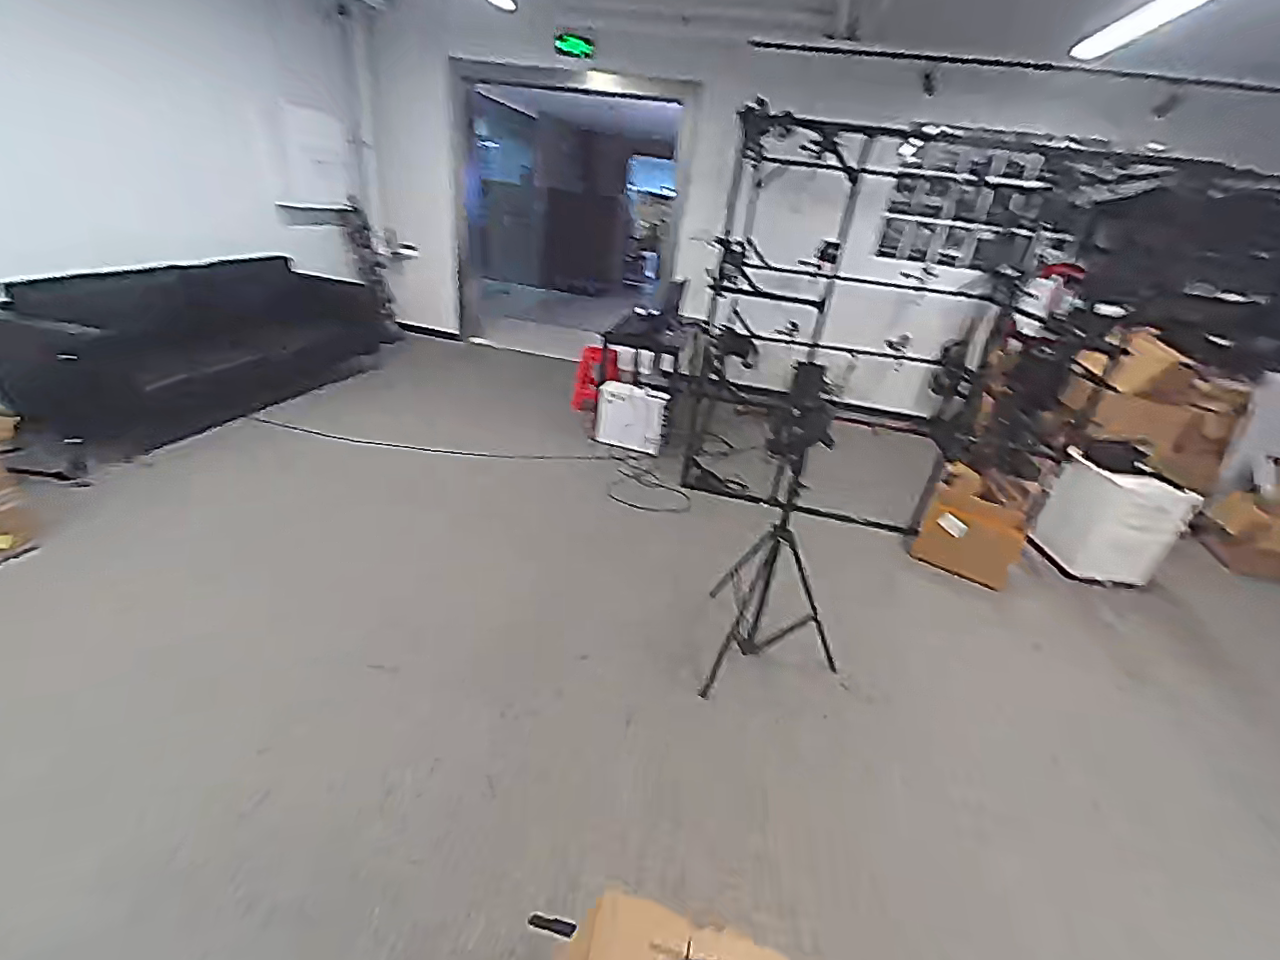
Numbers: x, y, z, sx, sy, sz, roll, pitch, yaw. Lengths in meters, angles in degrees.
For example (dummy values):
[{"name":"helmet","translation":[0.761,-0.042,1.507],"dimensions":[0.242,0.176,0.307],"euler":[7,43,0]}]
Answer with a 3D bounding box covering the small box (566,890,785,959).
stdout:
[{"name":"small box","translation":[0.005,0.455,0.385],"dimensions":[0.168,0.176,0.179],"euler":[20,24,-1]}]
